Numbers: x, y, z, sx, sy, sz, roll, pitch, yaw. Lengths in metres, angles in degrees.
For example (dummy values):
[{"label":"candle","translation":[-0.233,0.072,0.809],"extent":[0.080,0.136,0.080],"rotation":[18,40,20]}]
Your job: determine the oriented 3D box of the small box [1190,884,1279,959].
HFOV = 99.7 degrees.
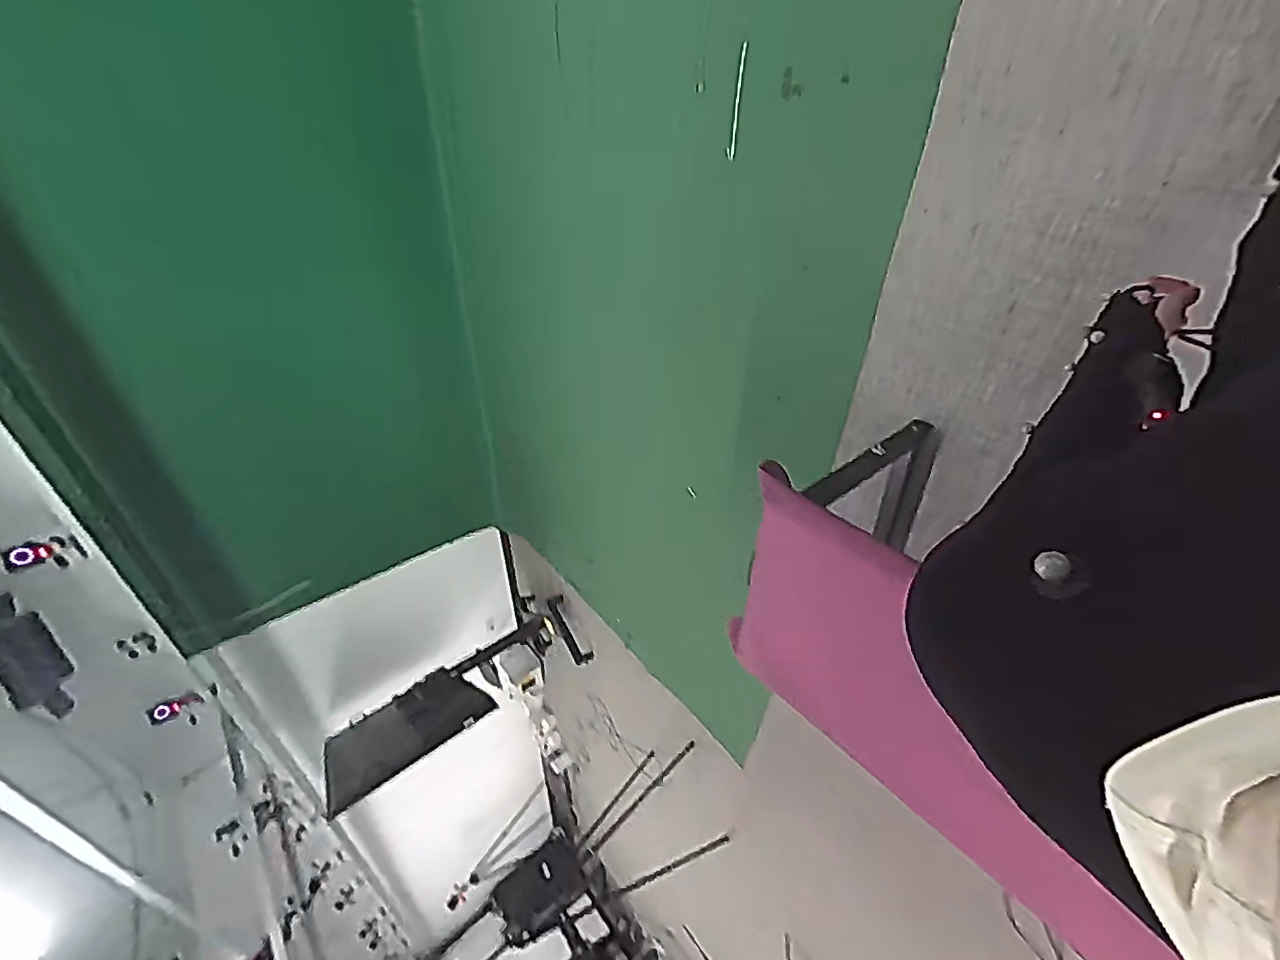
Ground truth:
[{"label":"small box","translation":[0.883,0.710,0.731],"extent":[0.168,0.176,0.179],"rotation":[30,133,43]}]
